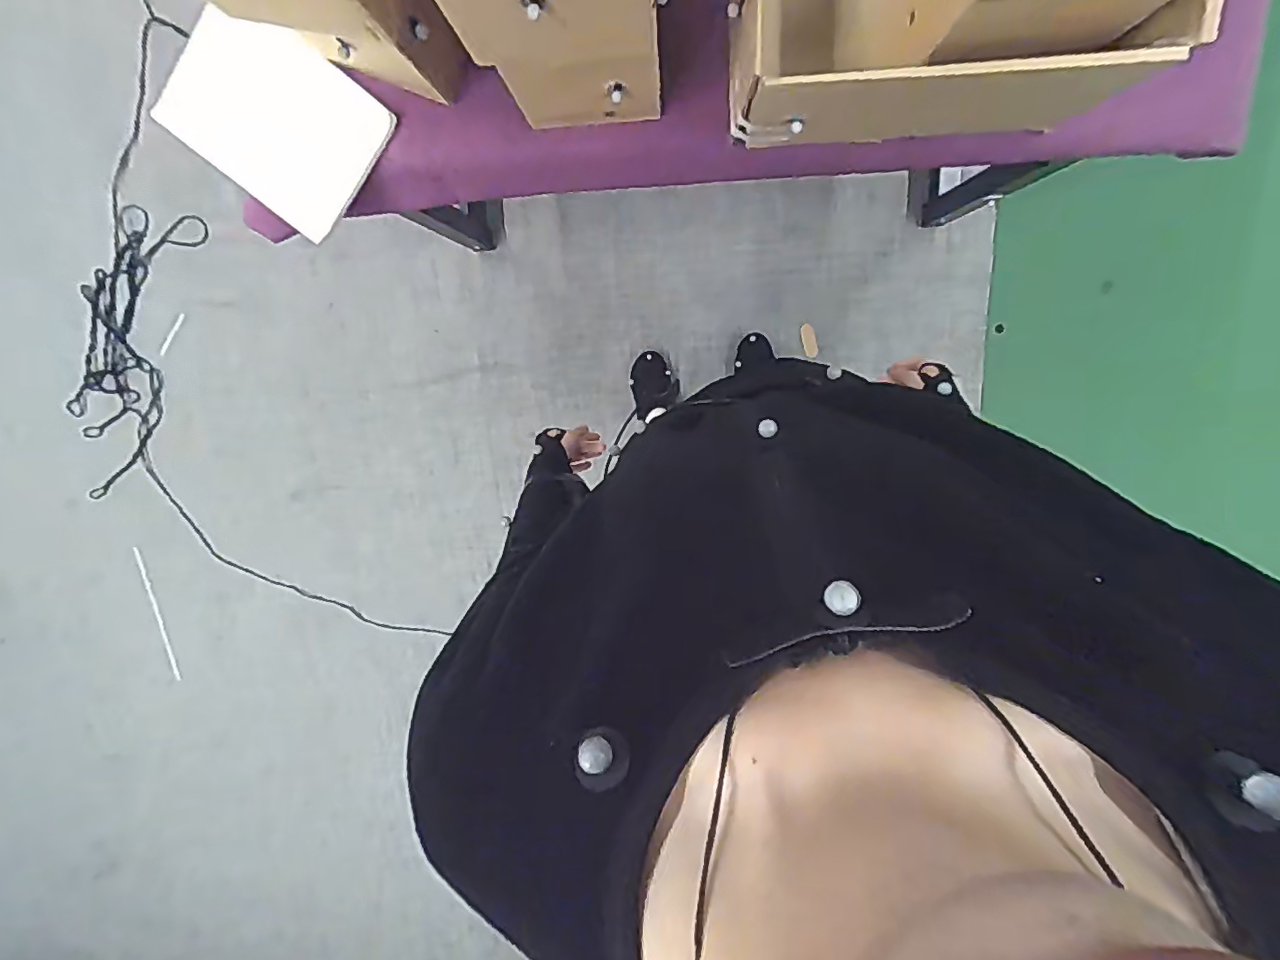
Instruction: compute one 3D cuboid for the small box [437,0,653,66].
[{"bbox_3d":[-0.078,-0.466,0.428,0.179,0.176,0.168,-1,102,4],"label":"small box"}]
